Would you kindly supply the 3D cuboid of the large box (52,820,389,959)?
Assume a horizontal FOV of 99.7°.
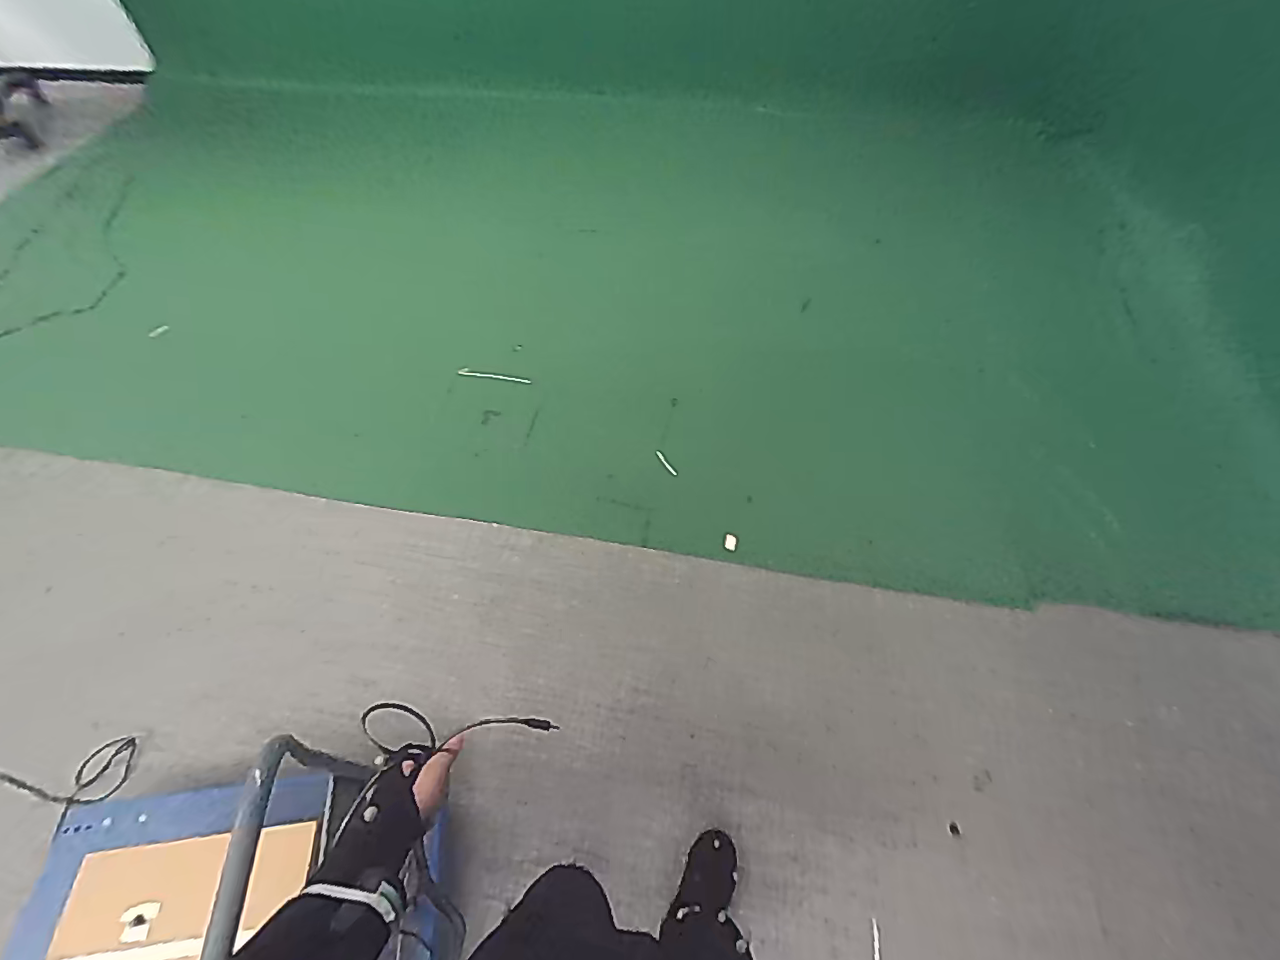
[{"bbox_3d":[-0.735,0.834,0.991,0.408,0.320,0.320,-7,56,-1],"label":"large box"}]
